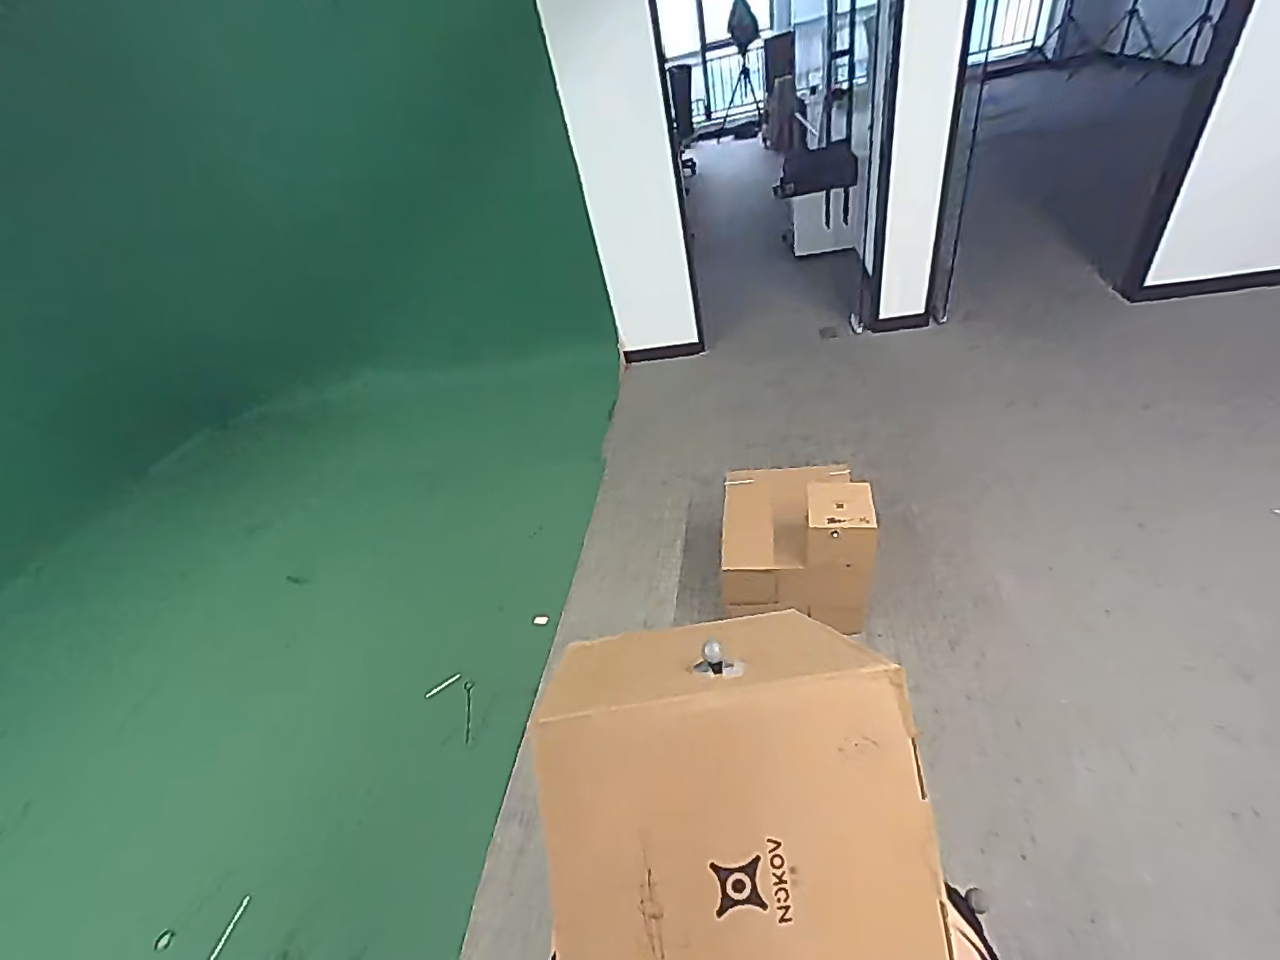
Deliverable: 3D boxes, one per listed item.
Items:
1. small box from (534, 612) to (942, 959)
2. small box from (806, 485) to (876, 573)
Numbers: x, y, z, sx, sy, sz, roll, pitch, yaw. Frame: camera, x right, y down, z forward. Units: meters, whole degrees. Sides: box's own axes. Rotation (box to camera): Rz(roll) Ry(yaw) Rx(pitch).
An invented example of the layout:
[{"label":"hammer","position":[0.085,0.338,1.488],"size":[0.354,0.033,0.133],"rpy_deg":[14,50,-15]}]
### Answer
[{"label":"small box","position":[0.043,0.182,0.325],"size":[0.179,0.168,0.176],"rpy_deg":[-7,-5,-2]},{"label":"small box","position":[0.541,0.130,1.474],"size":[0.168,0.176,0.179],"rpy_deg":[-1,39,16]}]
